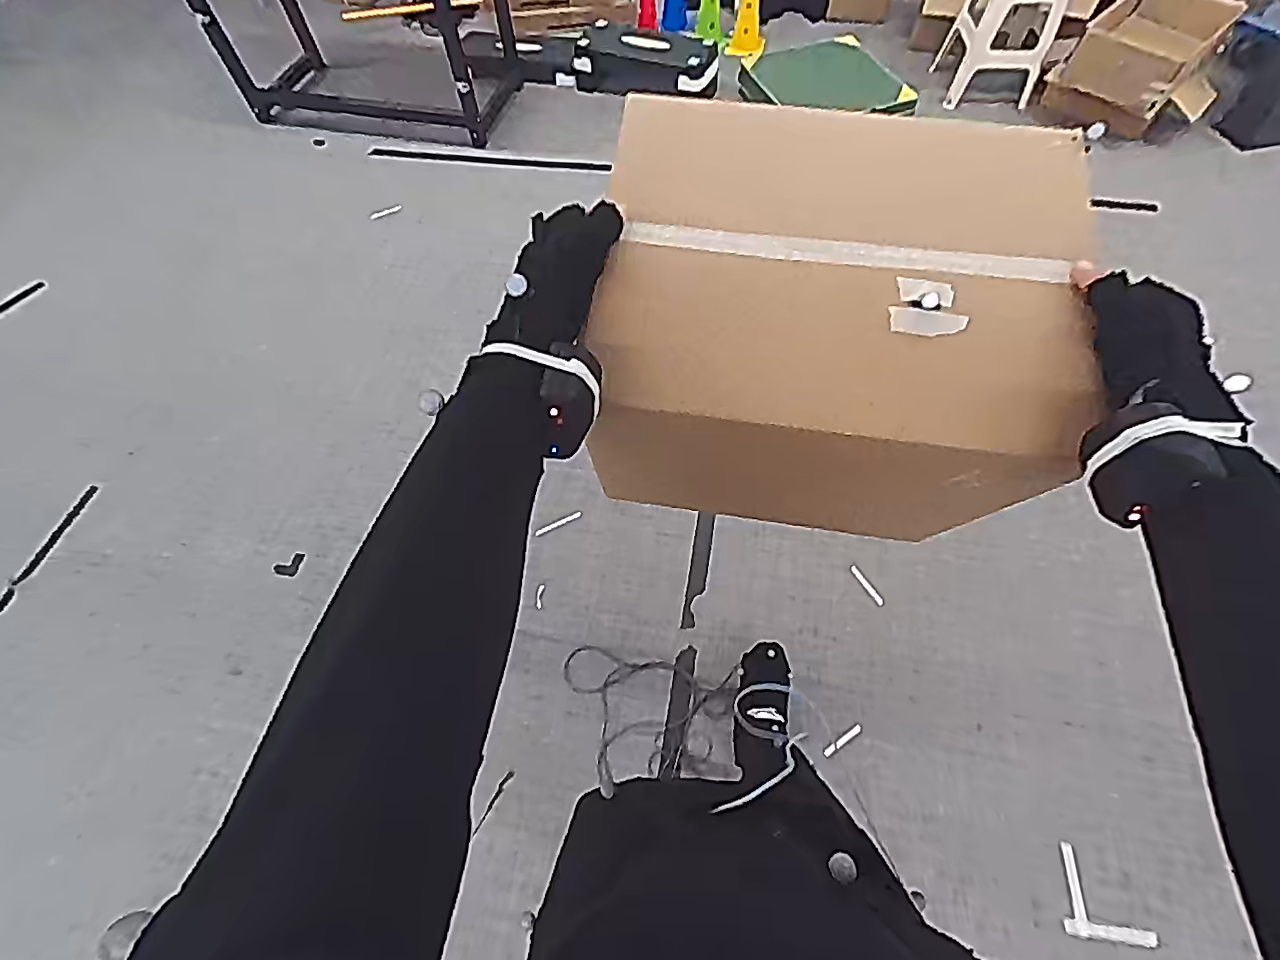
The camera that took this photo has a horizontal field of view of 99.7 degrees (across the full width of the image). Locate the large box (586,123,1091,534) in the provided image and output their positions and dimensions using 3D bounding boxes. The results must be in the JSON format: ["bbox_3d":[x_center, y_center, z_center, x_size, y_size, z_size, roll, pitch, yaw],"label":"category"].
[{"bbox_3d":[0.174,-0.138,0.611,0.408,0.320,0.320,8,75,5],"label":"large box"}]
